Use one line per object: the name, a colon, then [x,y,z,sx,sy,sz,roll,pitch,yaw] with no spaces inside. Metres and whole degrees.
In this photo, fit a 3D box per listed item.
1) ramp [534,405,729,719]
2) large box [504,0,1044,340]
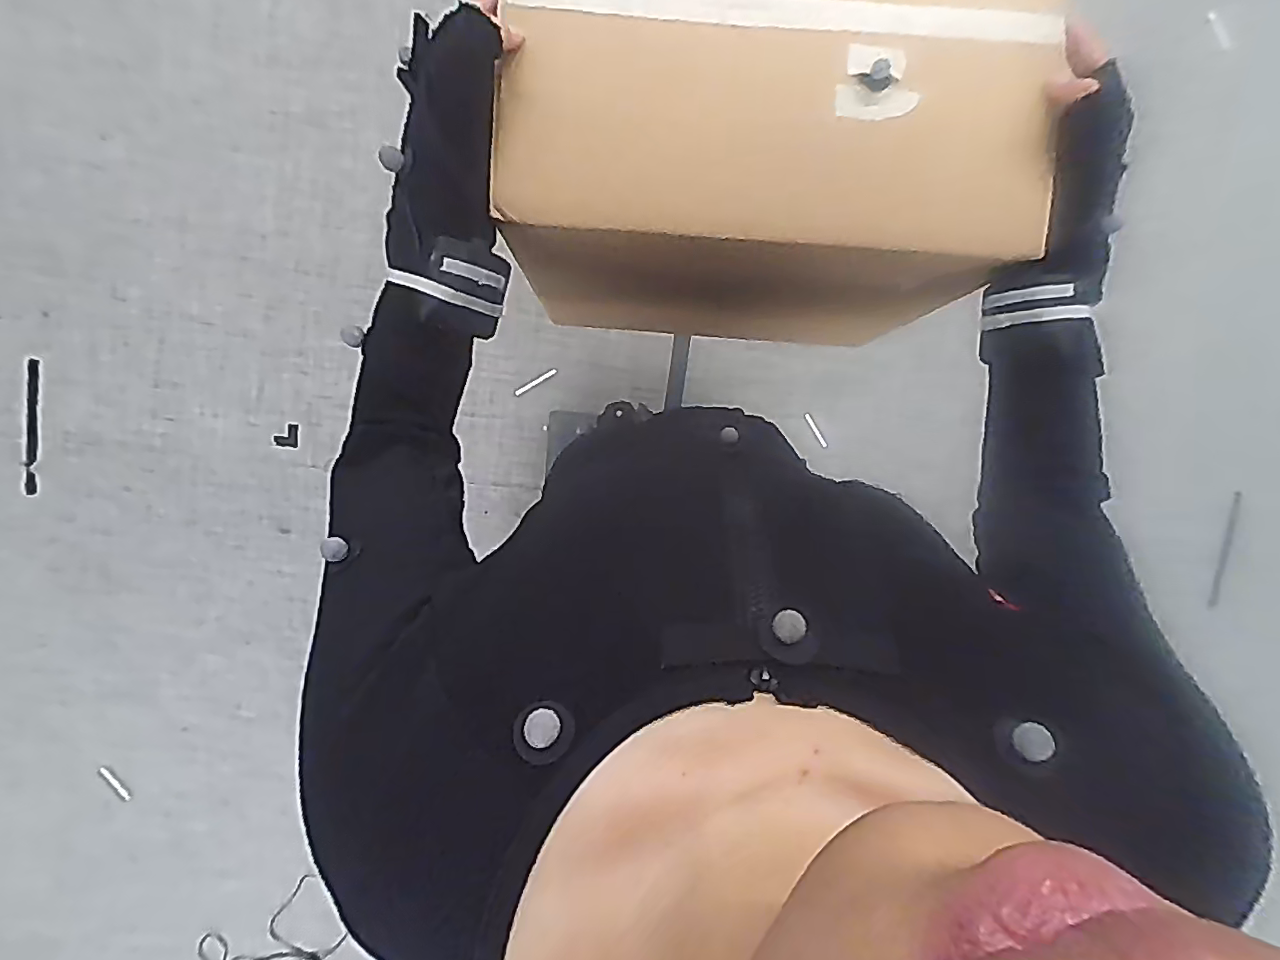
ramp: [-0.048,0.289,1.612,0.509,0.206,0.991,4,98,-3]
large box: [0.097,-0.339,0.552,0.408,0.320,0.320,4,92,-2]
